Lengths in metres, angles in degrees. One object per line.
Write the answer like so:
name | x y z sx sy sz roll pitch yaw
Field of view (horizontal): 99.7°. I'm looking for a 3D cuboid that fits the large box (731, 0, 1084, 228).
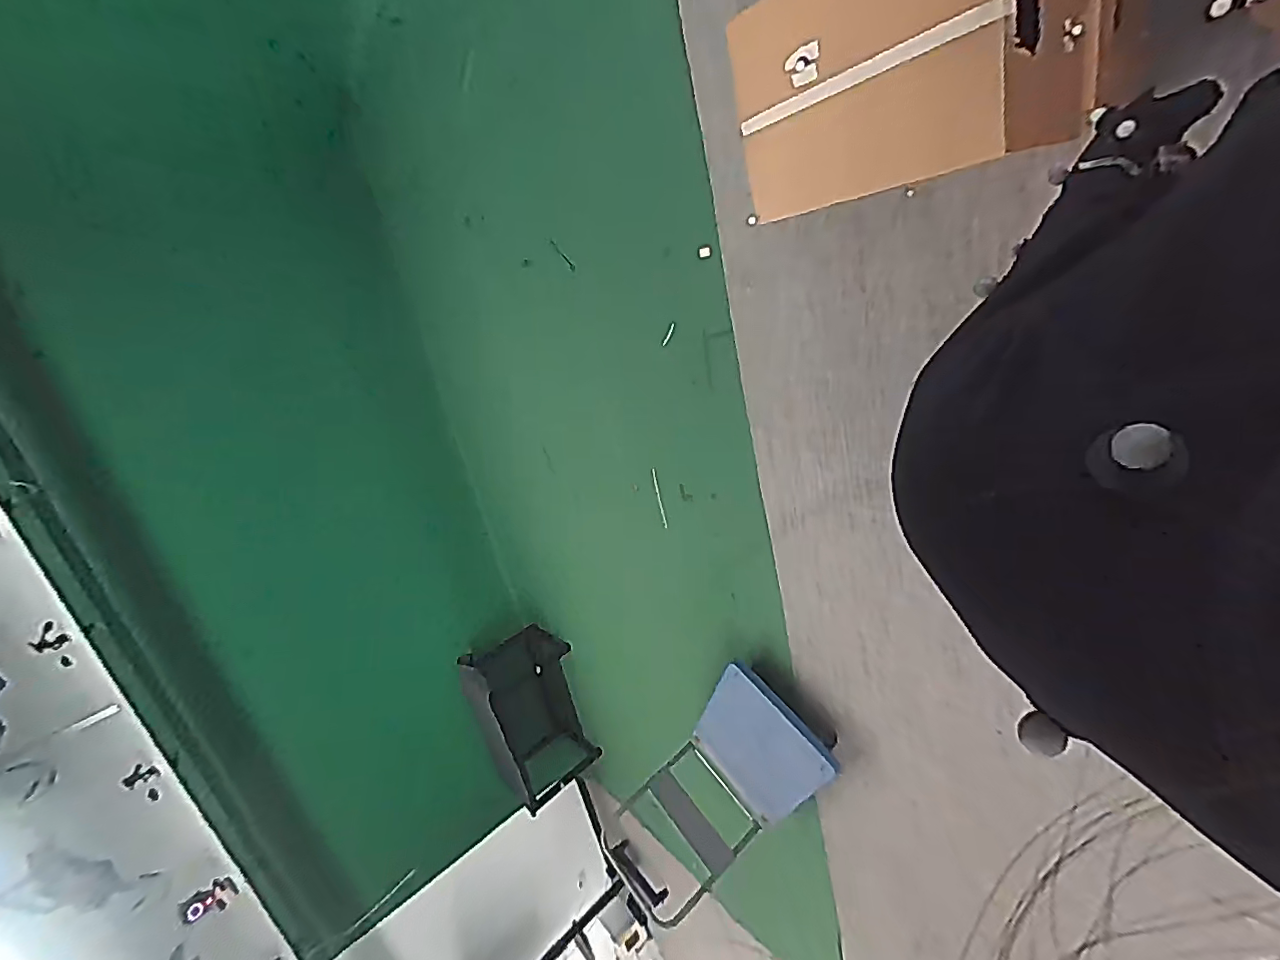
large box | 0.420 -0.637 0.866 0.408 0.320 0.320 13 124 51
